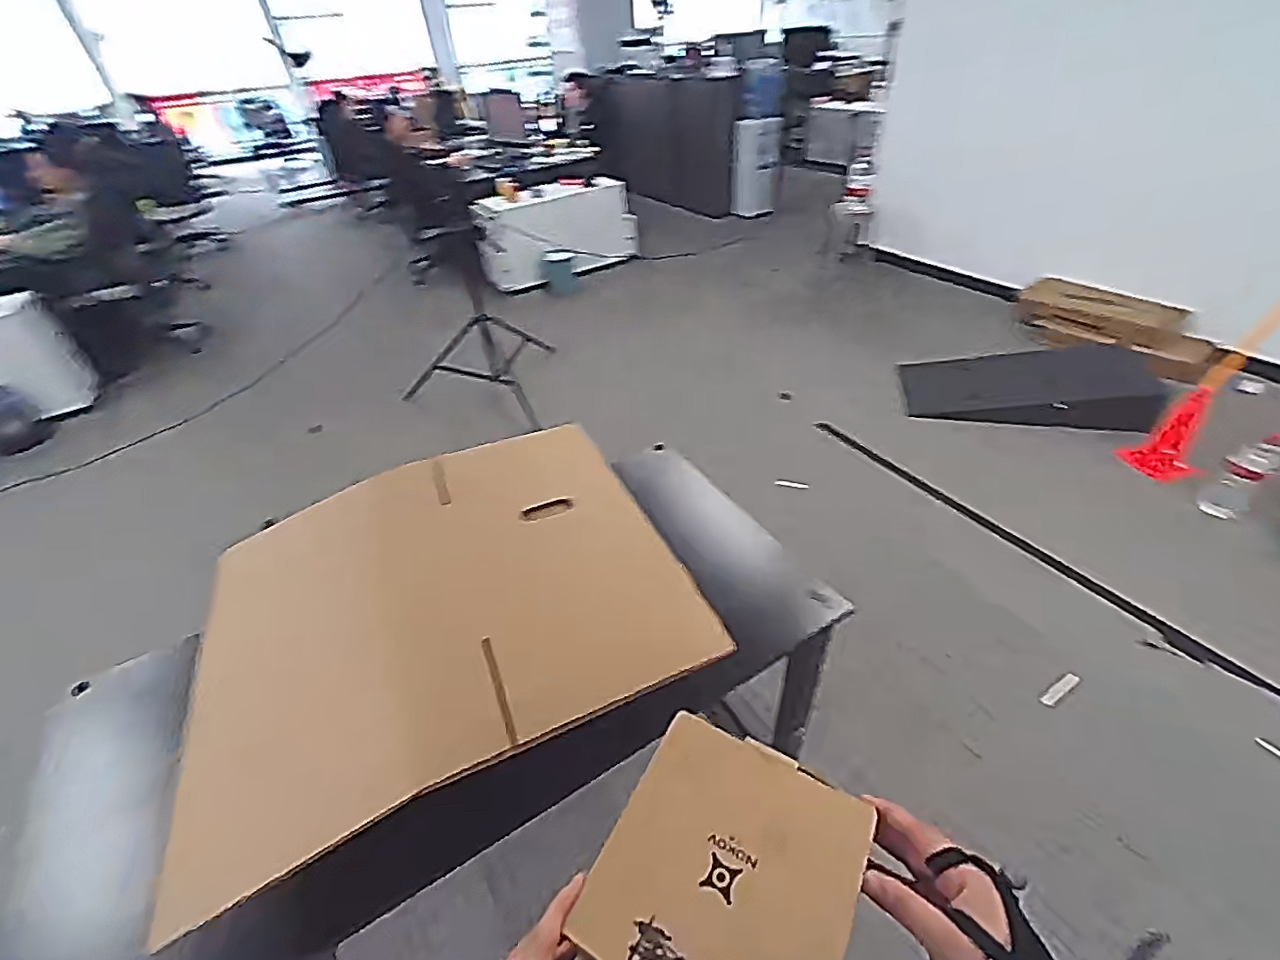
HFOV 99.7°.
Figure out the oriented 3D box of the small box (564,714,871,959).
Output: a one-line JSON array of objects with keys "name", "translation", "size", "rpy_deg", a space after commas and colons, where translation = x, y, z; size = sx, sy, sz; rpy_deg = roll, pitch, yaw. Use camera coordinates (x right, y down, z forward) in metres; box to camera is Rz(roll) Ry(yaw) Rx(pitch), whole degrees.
[{"name": "small box", "translation": [0.066, 0.333, 0.425], "size": [0.168, 0.176, 0.179], "rpy_deg": [15, 42, 27]}]
